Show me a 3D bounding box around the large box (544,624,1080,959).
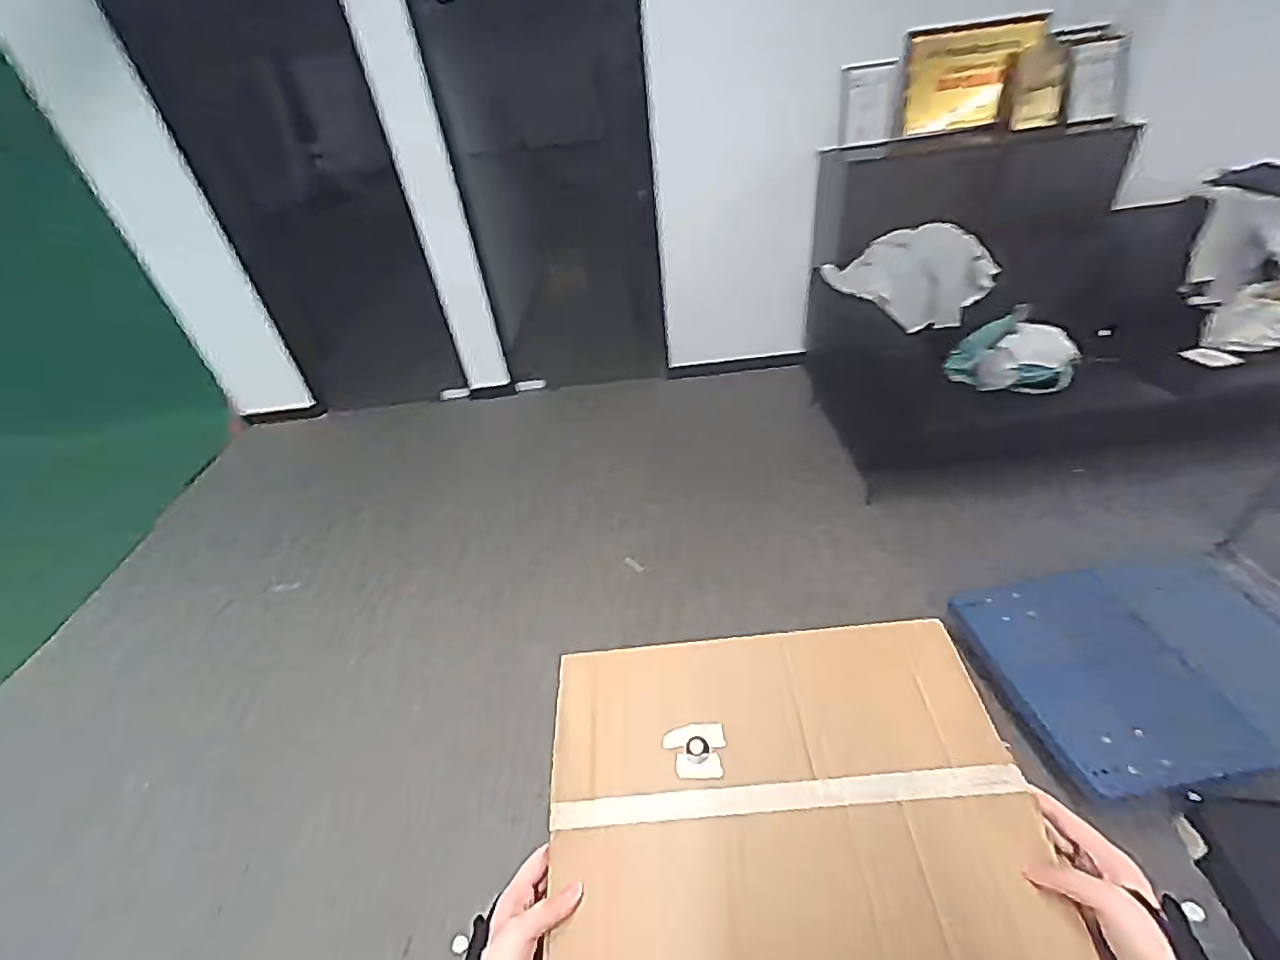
[{"bbox_3d":[0.137,0.392,0.586,0.408,0.320,0.320,-9,45,4],"label":"large box"}]
